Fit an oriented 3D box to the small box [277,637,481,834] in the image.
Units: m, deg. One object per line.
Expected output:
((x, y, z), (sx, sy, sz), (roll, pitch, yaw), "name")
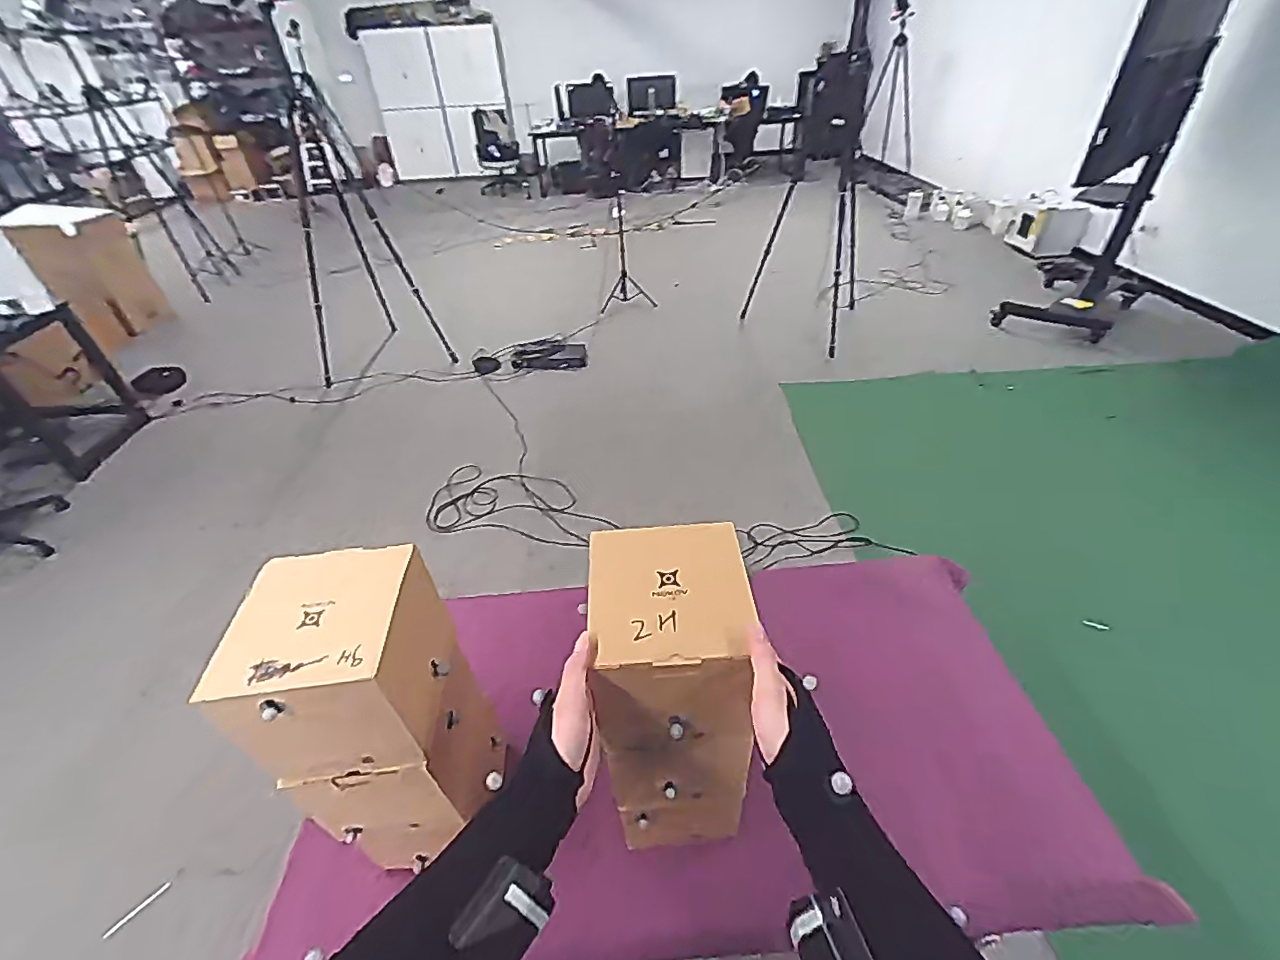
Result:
((-0.314, 0.332, 0.698), (0.168, 0.176, 0.179), (-6, 38, -2), "small box")

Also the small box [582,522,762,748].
((0.030, 0.169, 0.598), (0.168, 0.176, 0.179), (-4, 41, 0), "small box")

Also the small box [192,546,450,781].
((-0.324, 0.200, 0.600), (0.168, 0.176, 0.179), (-8, 38, -2), "small box")

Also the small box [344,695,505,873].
((-0.305, 0.452, 0.808), (0.168, 0.176, 0.179), (-6, 40, -2), "small box")

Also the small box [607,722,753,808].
((0.041, 0.297, 0.709), (0.168, 0.176, 0.179), (-6, 39, -2), "small box")
